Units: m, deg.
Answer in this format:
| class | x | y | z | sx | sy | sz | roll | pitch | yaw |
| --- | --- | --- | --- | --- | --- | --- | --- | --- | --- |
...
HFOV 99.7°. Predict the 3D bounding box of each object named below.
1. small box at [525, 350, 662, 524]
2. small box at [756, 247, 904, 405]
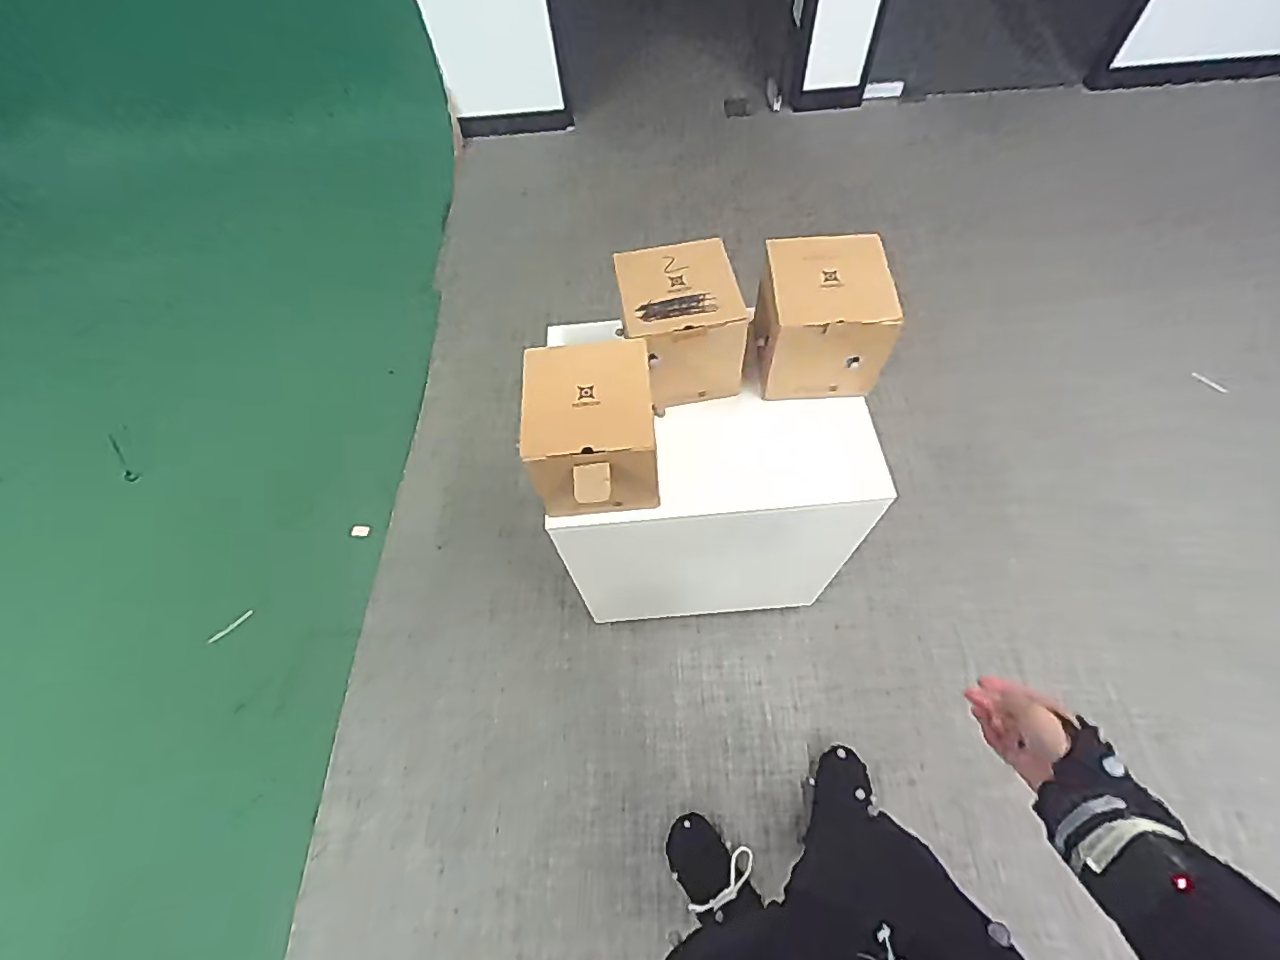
| class | x | y | z | sx | sy | sz | roll | pitch | yaw |
| --- | --- | --- | --- | --- | --- | --- | --- | --- | --- |
| small box | -0.057 | -0.055 | 0.754 | 0.168 | 0.176 | 0.179 | -5 | 61 | 1 |
| small box | 0.276 | -0.227 | 0.829 | 0.168 | 0.176 | 0.179 | -2 | 60 | 3 |
